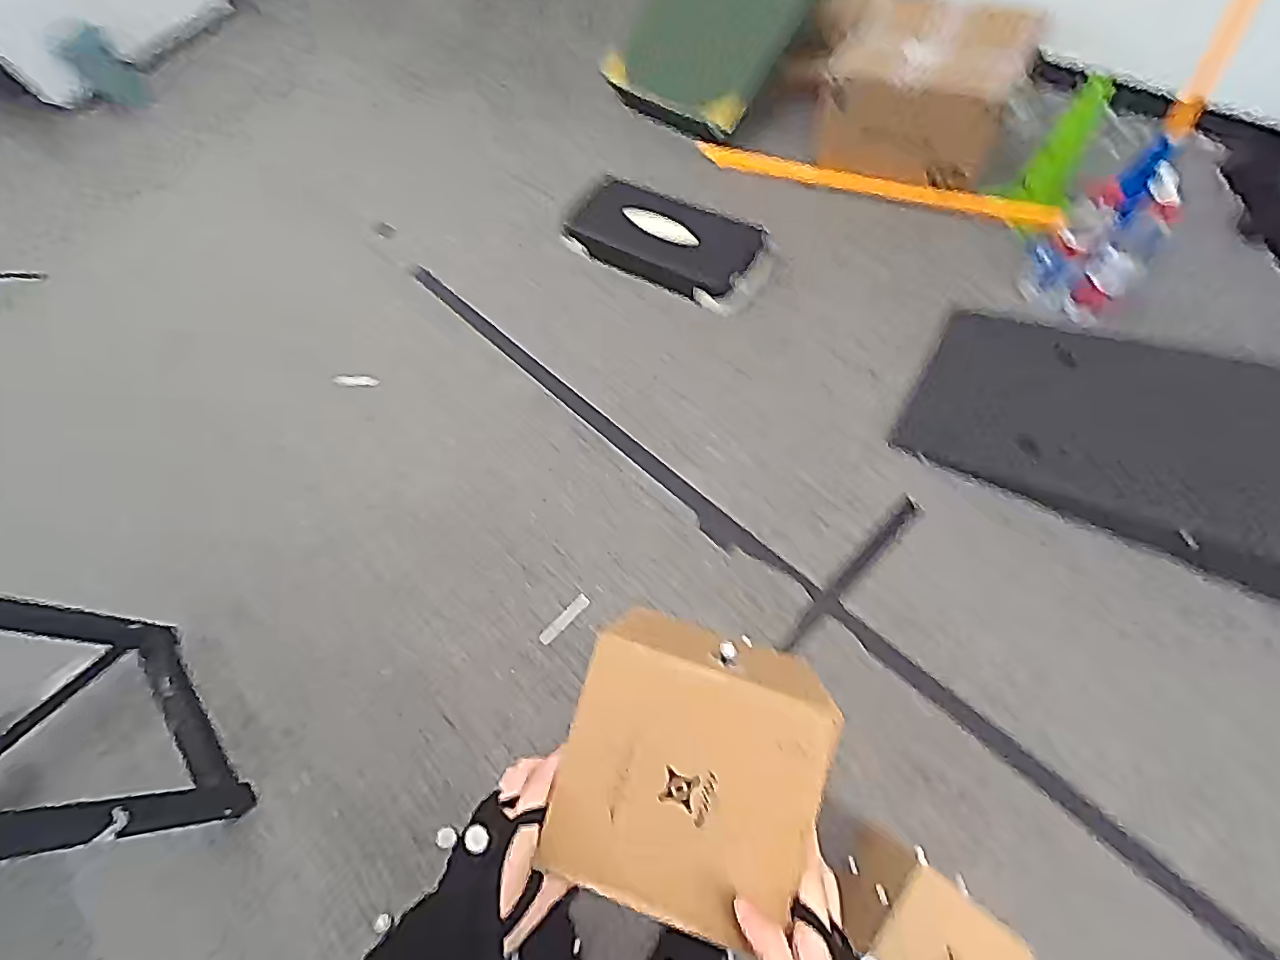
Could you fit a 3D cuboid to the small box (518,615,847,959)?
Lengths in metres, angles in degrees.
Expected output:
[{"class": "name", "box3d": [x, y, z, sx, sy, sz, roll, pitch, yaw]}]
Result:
[{"class": "small box", "box3d": [0.036, 0.216, 0.426, 0.179, 0.176, 0.168, 17, 85, 10]}]

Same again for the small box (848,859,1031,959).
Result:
[{"class": "small box", "box3d": [0.428, 0.700, 0.787, 0.168, 0.176, 0.179, 36, 76, 22]}]

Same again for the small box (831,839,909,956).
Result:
[{"class": "small box", "box3d": [0.452, 0.768, 0.935, 0.168, 0.176, 0.179, 35, 74, 22]}]
